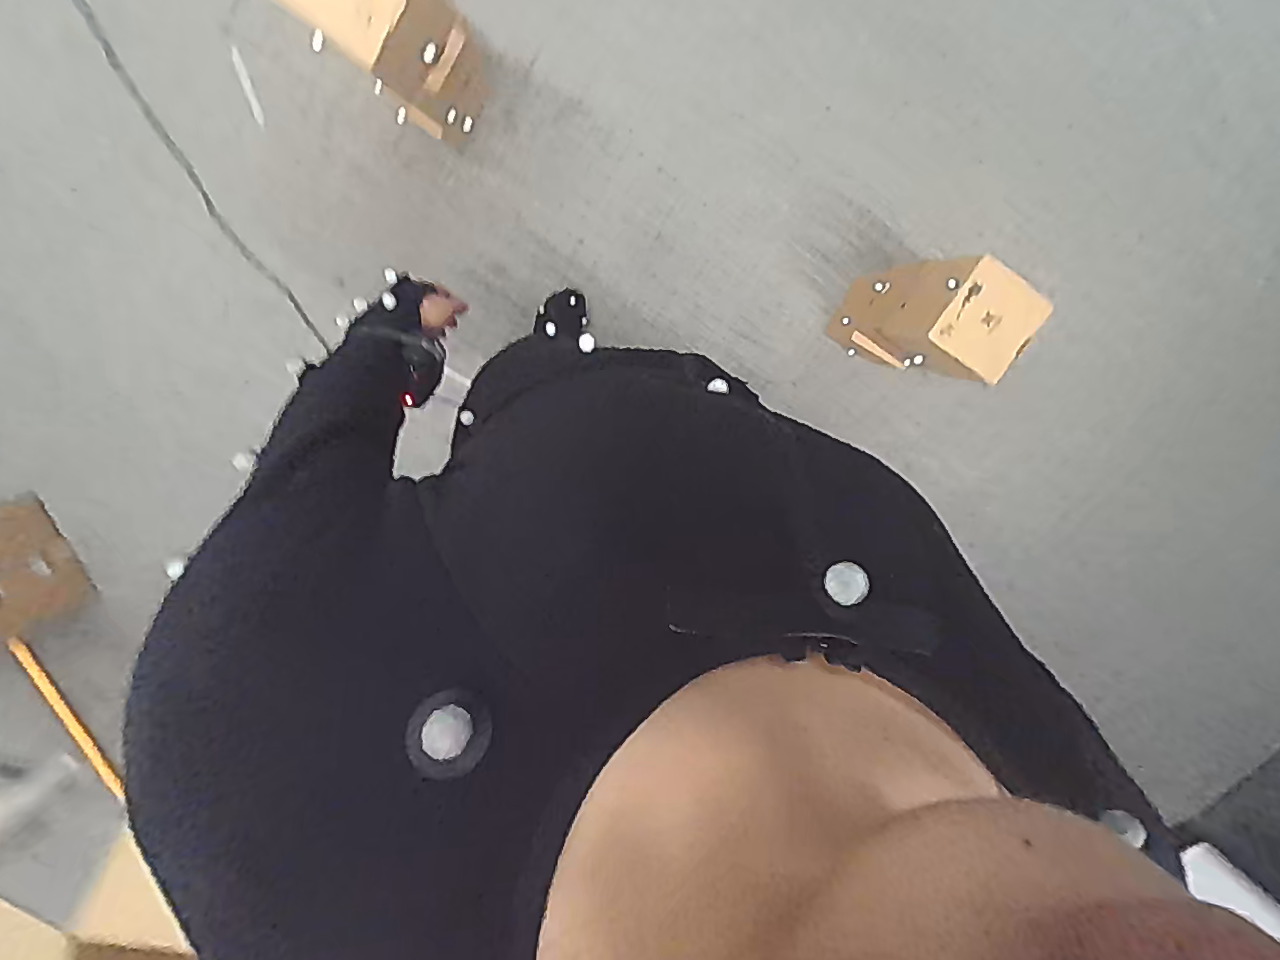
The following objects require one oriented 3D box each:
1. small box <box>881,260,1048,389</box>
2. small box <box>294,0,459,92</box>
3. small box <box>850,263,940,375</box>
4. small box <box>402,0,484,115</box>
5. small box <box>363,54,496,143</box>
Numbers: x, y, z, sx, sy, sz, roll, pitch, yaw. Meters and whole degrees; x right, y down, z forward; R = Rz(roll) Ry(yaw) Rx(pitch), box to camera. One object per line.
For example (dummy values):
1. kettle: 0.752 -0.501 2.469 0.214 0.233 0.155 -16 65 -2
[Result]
1. small box: 0.613 -0.301 1.043 0.179 0.176 0.168 30 104 -15
2. small box: -0.400 -0.726 0.799 0.179 0.176 0.168 34 104 -14
3. small box: 0.609 -0.358 1.197 0.179 0.176 0.168 30 103 -13
4. small box: -0.400 -0.787 0.953 0.179 0.176 0.168 35 103 -13
5. small box: -0.419 -0.831 1.111 0.179 0.176 0.168 34 103 -14
